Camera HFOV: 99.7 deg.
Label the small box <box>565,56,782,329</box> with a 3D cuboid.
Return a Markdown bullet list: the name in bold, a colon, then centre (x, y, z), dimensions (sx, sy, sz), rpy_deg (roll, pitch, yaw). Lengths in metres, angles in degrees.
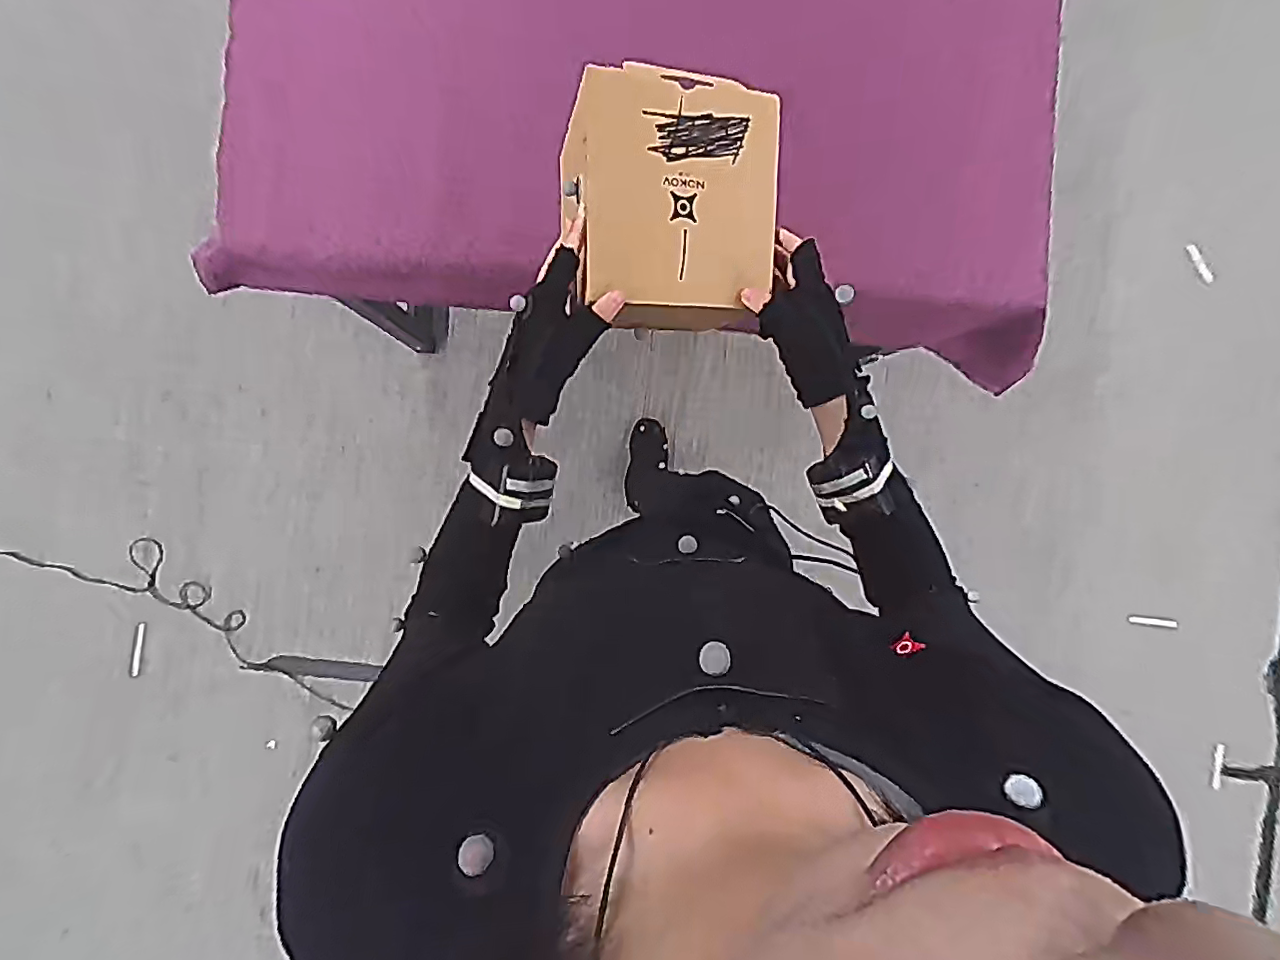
- **small box**: centre (0.019, -0.250, 0.519), dimensions (0.168, 0.176, 0.179), rpy_deg (-2, 98, -14)
